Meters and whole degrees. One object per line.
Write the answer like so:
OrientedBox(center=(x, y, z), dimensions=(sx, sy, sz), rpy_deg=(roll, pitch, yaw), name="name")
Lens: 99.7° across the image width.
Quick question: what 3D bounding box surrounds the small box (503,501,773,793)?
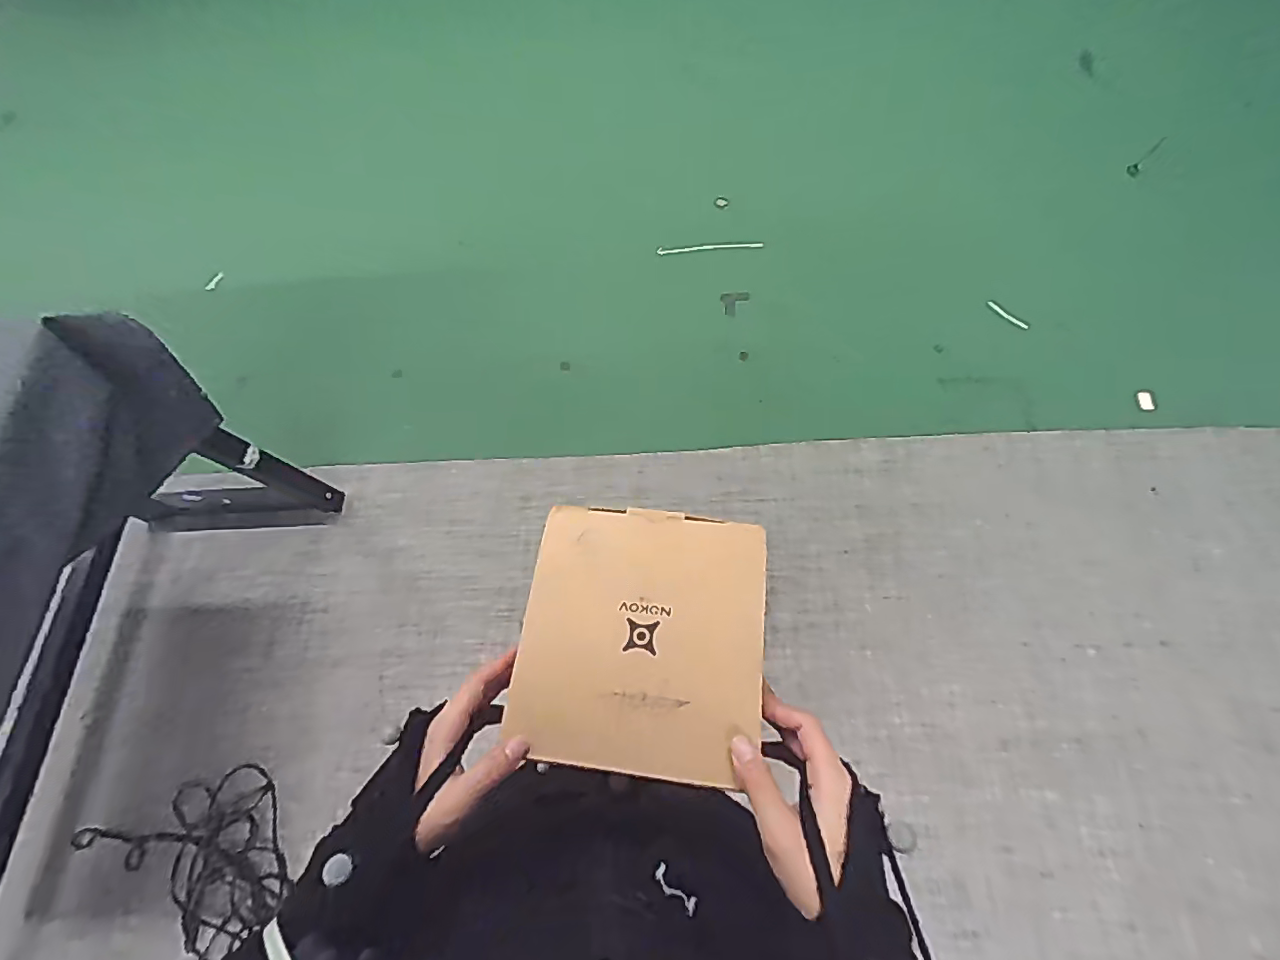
OrientedBox(center=(0.008, 0.137, 0.439), dimensions=(0.168, 0.176, 0.179), rpy_deg=(6, 64, 6), name="small box")
